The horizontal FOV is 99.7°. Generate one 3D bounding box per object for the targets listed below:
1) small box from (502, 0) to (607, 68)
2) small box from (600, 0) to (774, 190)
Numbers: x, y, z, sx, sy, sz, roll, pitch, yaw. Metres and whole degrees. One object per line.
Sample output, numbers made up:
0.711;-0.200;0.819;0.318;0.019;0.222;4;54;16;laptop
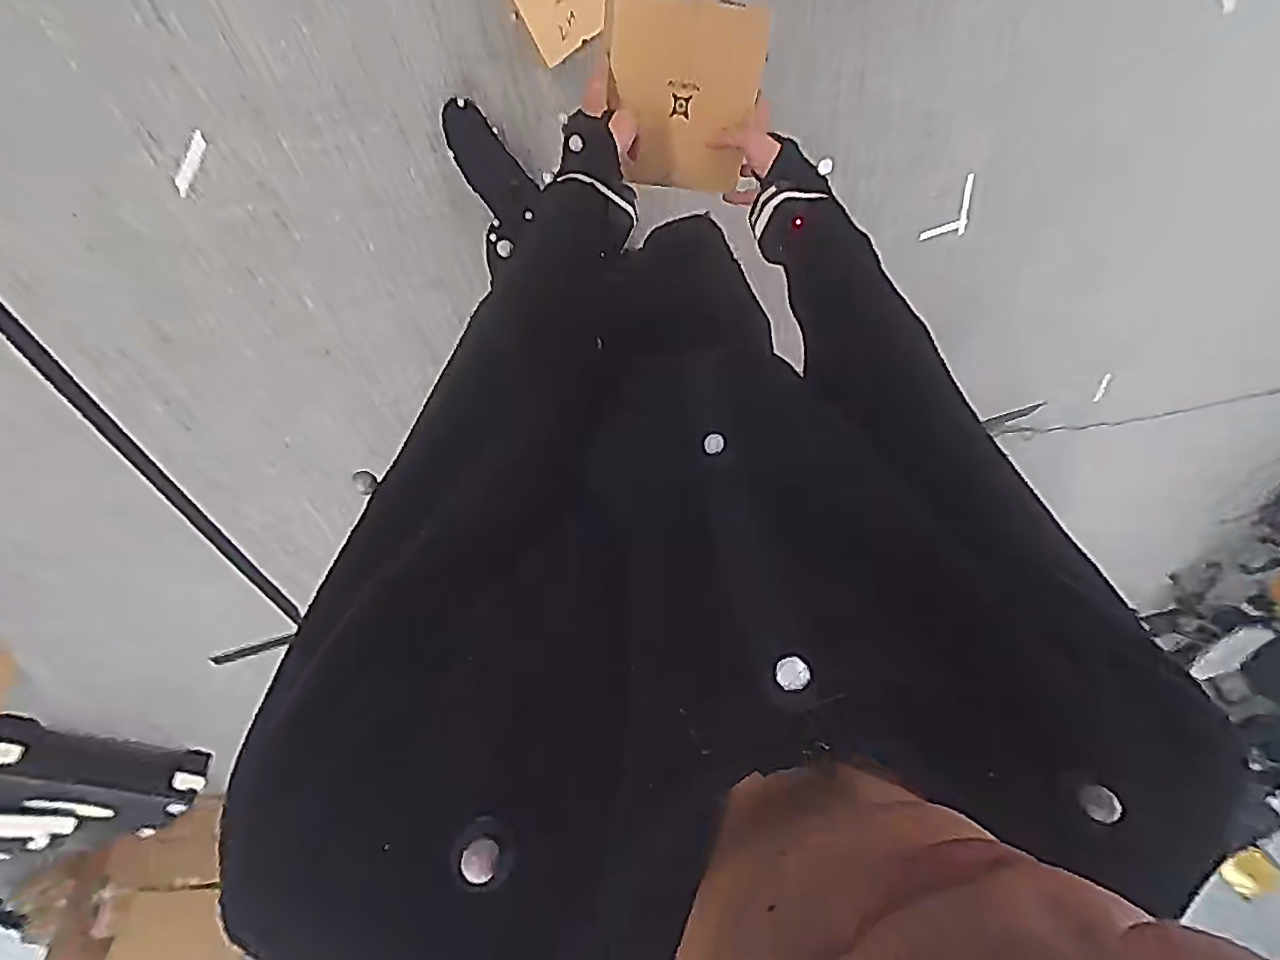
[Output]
-0.167;-0.930;1.037;0.168;0.176;0.179;-32;130;7;small box
0.039;-0.470;0.642;0.168;0.176;0.179;1;132;-8;small box
